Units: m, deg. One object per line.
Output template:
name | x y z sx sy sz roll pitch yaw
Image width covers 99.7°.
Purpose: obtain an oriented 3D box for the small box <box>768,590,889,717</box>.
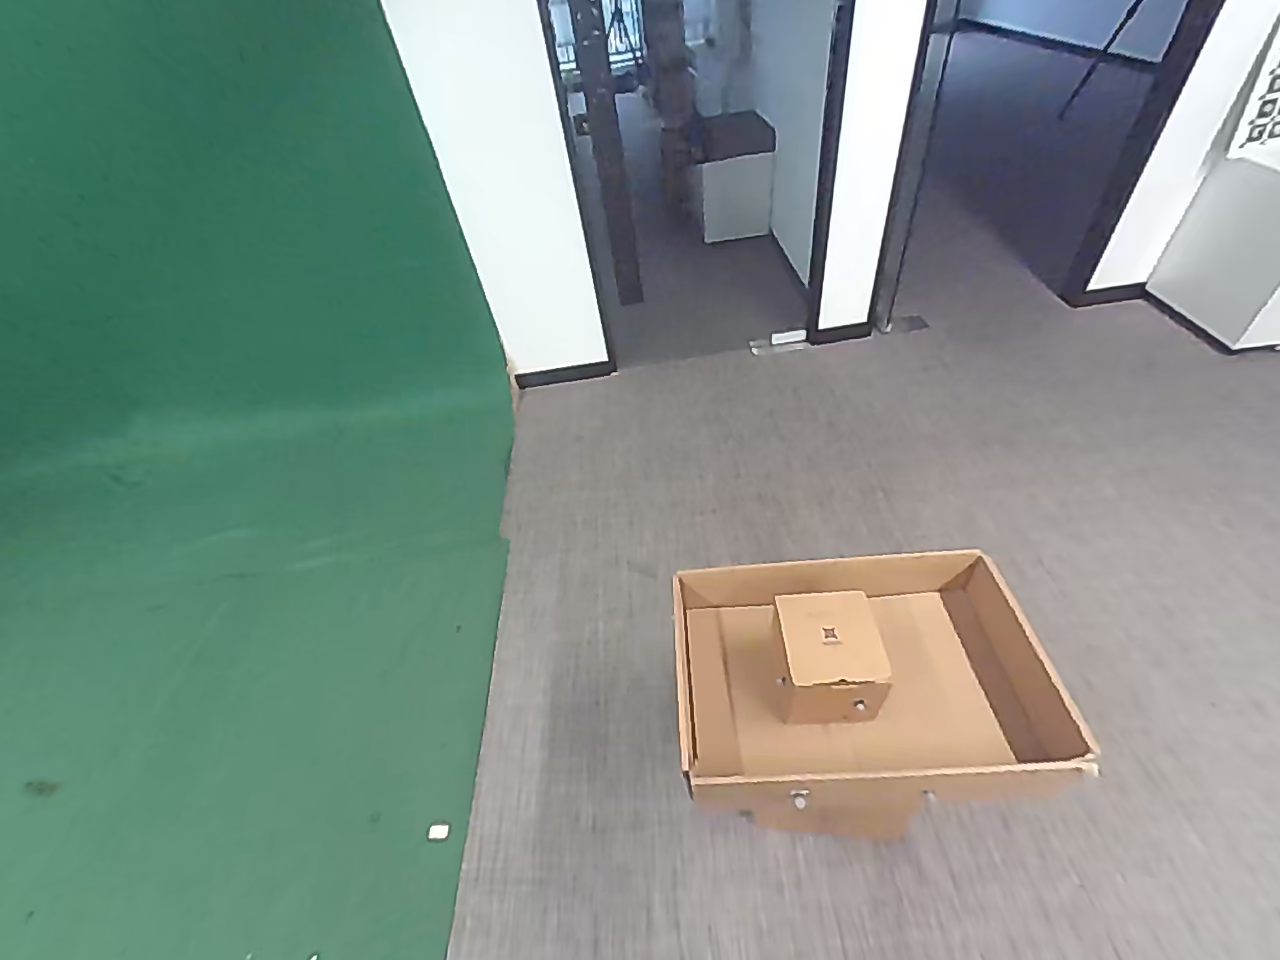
small box | 0.338 0.329 1.007 0.168 0.176 0.179 -4 44 3
